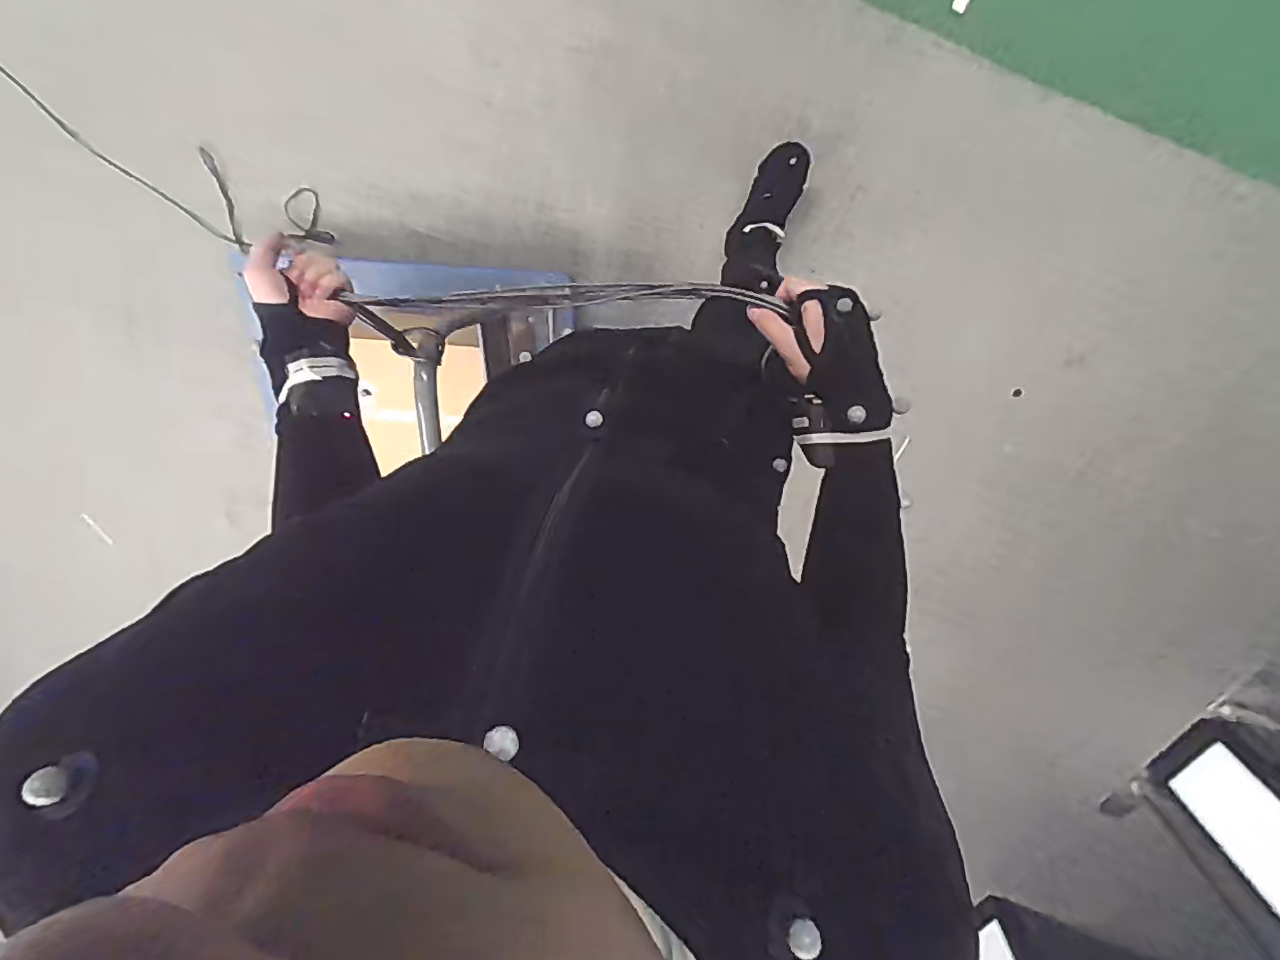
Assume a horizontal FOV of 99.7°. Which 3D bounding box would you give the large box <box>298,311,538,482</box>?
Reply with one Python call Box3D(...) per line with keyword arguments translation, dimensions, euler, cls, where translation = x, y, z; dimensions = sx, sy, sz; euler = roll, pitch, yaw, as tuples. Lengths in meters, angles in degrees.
Box3D(translation=(-0.481, -0.210, 1.268), dimensions=(0.408, 0.320, 0.320), euler=(5, 115, 5), cls="large box")
